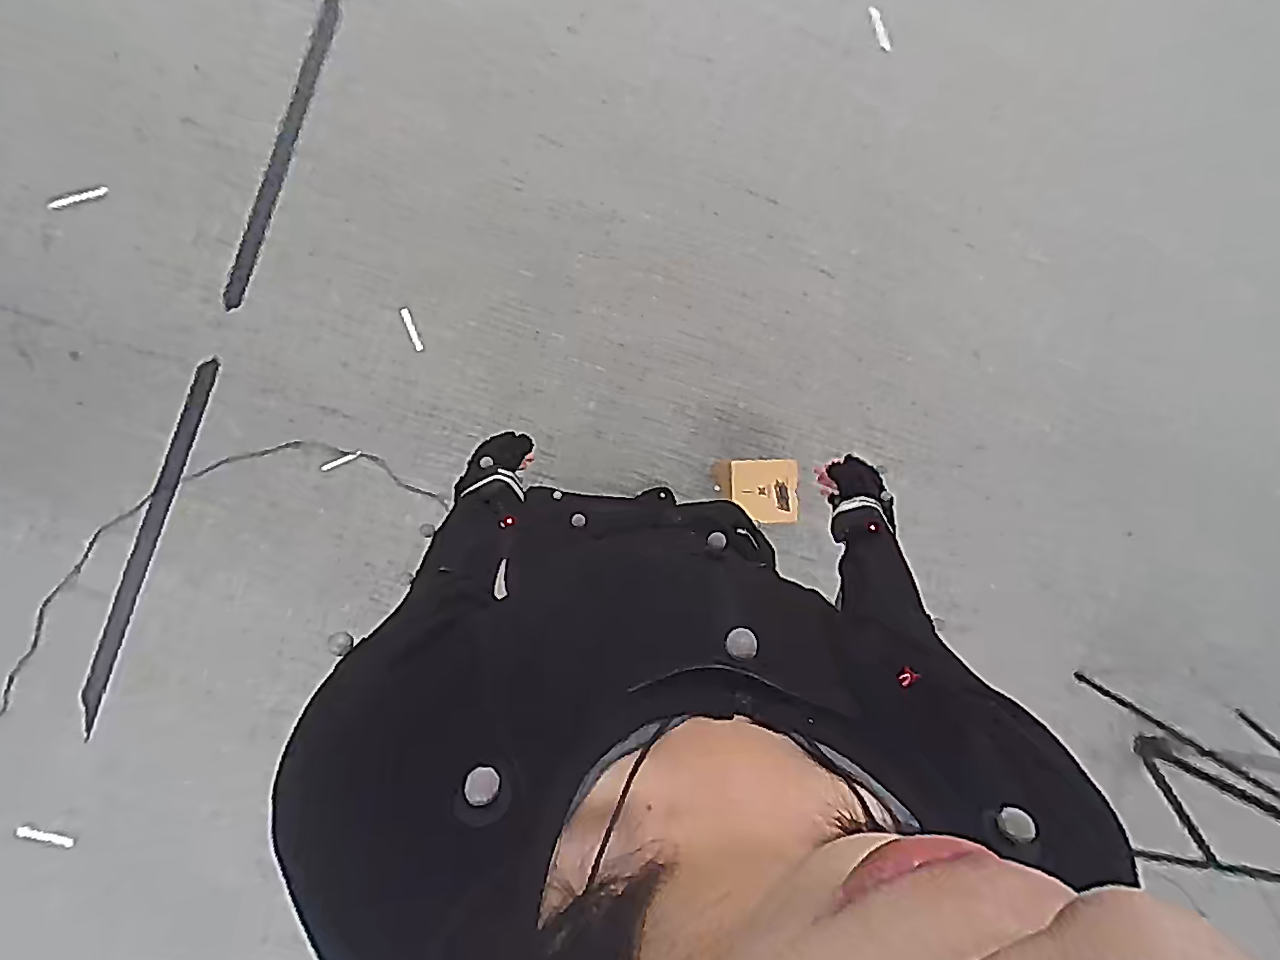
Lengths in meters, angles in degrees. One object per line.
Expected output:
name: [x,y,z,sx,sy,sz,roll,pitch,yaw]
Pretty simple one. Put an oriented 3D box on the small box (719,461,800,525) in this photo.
small box: [0.320,0.031,1.468,0.179,0.176,0.168,-1,91,-5]
